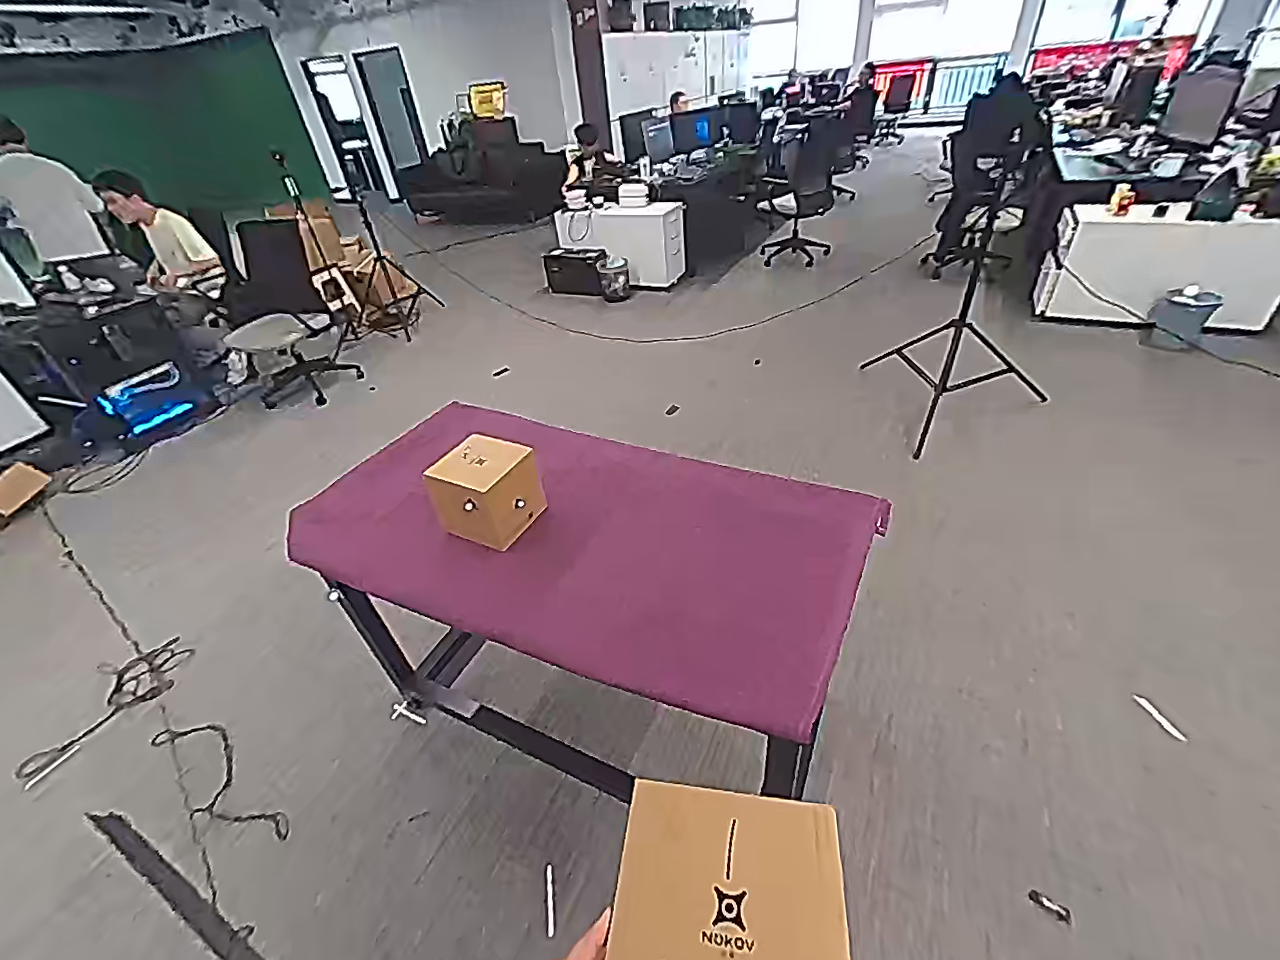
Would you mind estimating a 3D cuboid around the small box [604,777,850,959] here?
[{"bbox_3d":[0.070,0.371,0.428,0.168,0.176,0.179,1,38,11],"label":"small box"}]

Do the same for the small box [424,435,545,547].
[{"bbox_3d":[-0.335,0.026,1.199,0.179,0.176,0.168,14,41,25],"label":"small box"}]
